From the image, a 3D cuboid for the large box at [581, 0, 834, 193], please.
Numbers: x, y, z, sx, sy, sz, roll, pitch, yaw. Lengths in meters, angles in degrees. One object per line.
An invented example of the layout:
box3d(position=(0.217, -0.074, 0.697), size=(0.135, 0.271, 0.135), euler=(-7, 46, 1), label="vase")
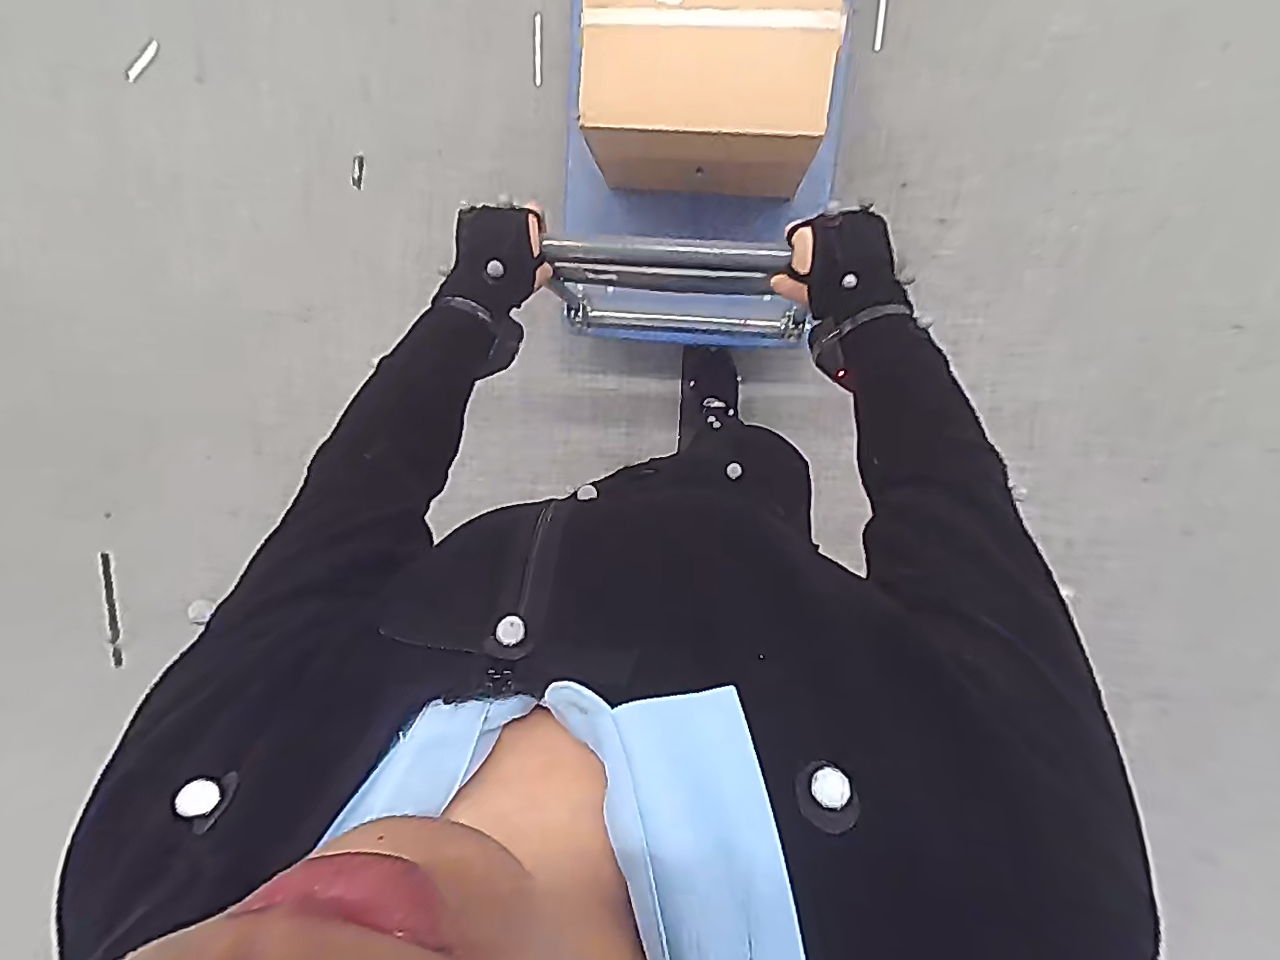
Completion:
box3d(position=(0.126, -0.755, 1.017), size=(0.408, 0.320, 0.320), euler=(6, 101, 6), label="large box")
